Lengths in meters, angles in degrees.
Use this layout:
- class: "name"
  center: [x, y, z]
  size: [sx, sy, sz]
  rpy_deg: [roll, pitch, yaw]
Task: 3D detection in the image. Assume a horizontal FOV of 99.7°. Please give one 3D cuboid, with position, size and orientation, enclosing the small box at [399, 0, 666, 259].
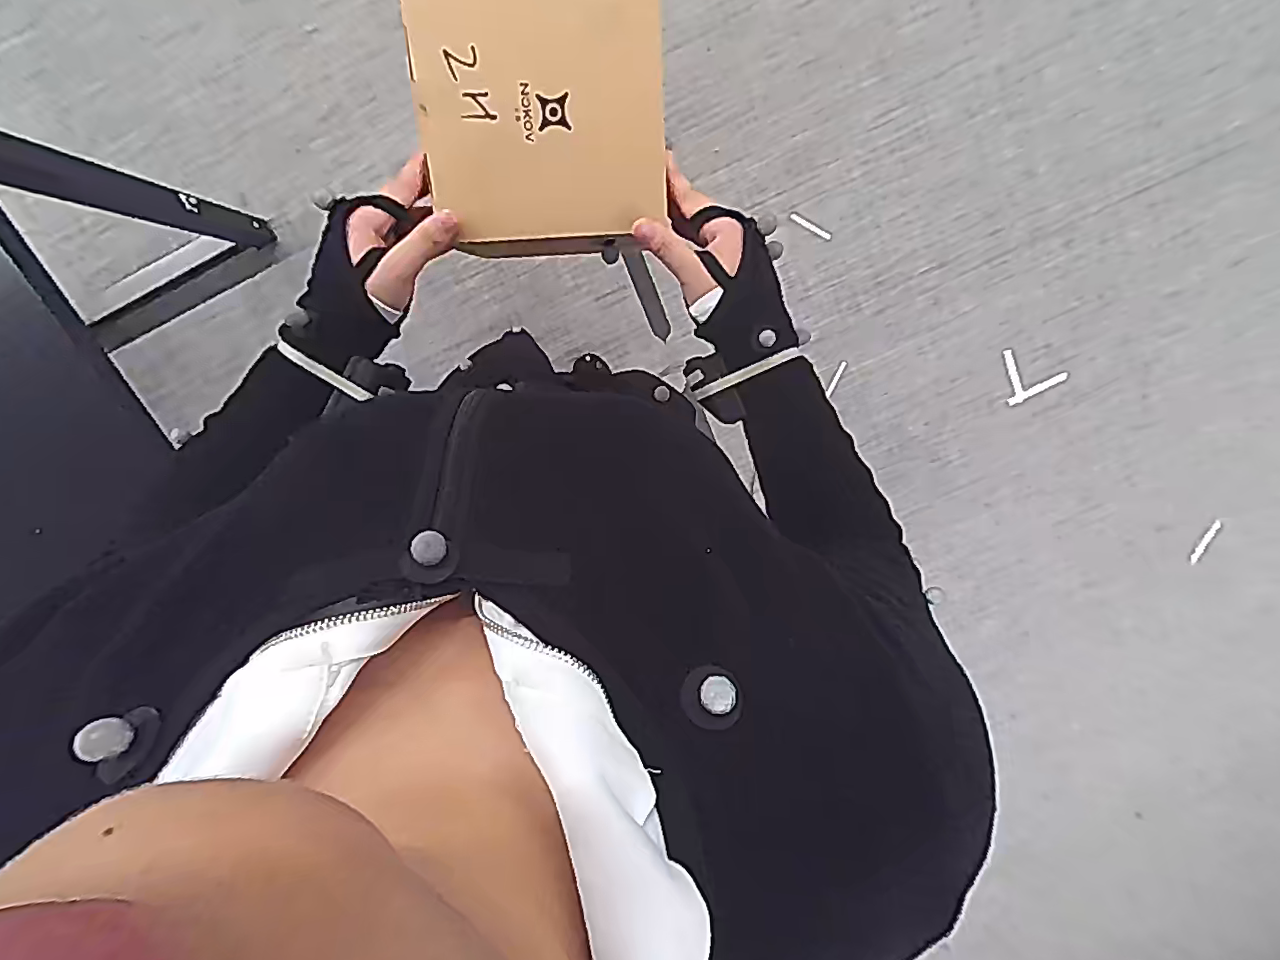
- class: "small box"
  center: [-0.075, -0.284, 0.459]
  size: [0.179, 0.176, 0.168]
  rpy_deg: [-4, 108, -2]
